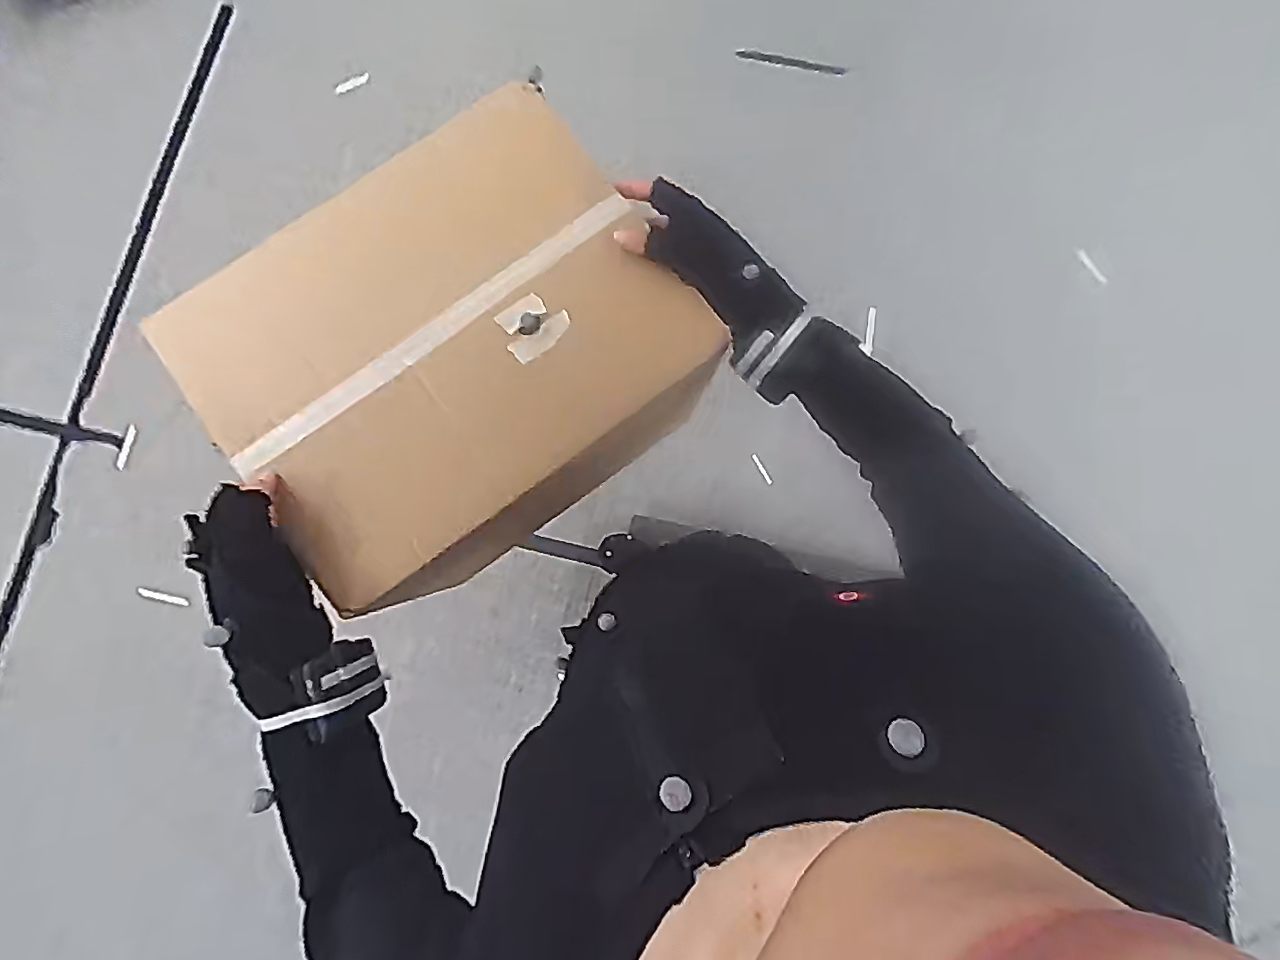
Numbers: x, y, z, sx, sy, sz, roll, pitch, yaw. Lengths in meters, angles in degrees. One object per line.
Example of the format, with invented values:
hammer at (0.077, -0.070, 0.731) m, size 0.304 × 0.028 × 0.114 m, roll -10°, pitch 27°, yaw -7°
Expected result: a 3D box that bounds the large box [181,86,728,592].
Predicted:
large box at (-0.169, -0.120, 0.631) m, size 0.408 × 0.320 × 0.320 m, roll -36°, pitch 86°, yaw -5°
